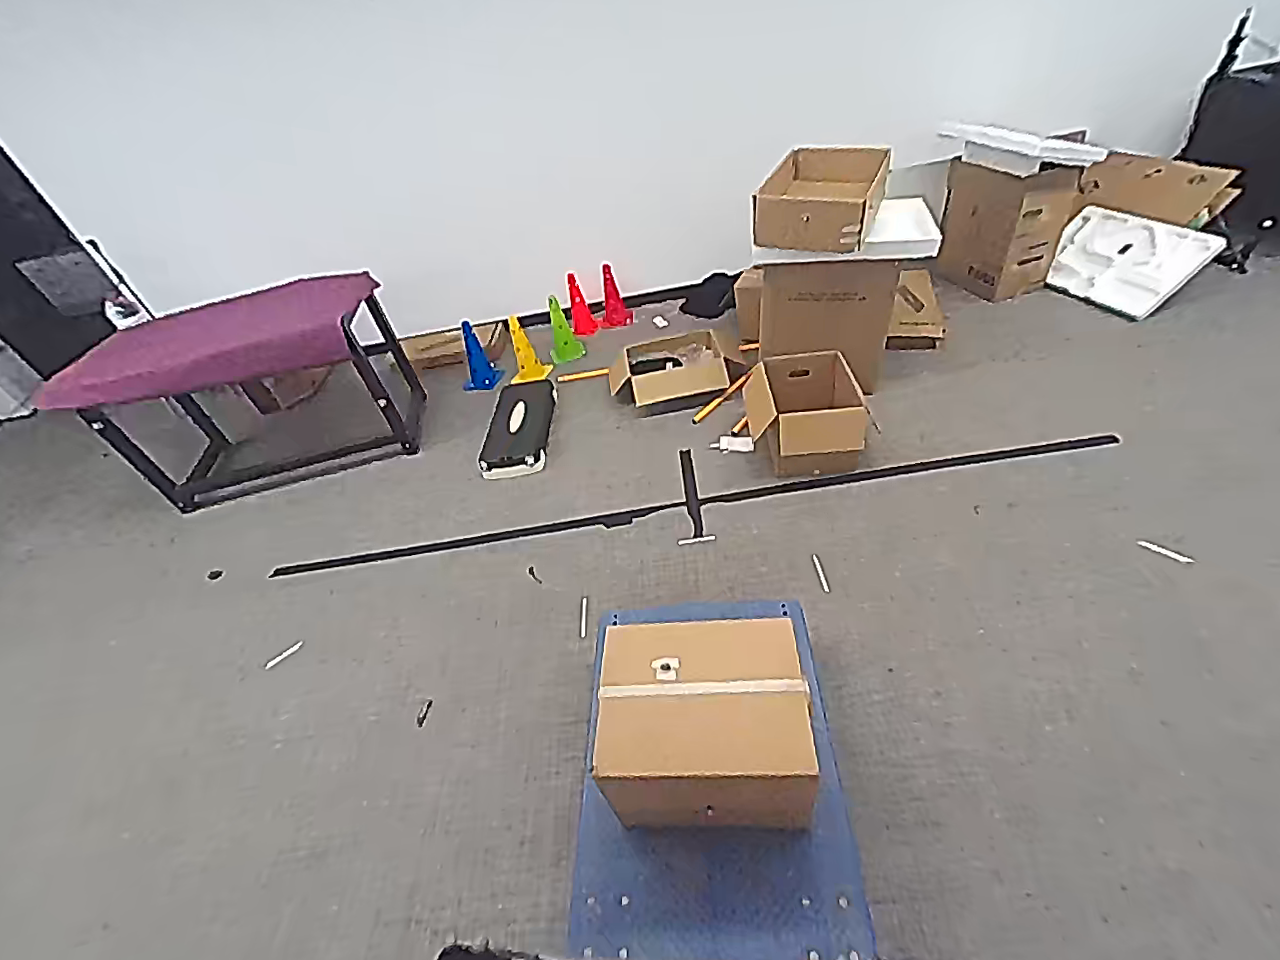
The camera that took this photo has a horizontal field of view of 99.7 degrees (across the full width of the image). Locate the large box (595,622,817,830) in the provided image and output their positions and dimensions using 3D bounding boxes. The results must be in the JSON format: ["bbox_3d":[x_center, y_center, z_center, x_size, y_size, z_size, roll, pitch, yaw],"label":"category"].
[{"bbox_3d":[0.143,0.538,1.171,0.408,0.320,0.320,-6,41,9],"label":"large box"}]
